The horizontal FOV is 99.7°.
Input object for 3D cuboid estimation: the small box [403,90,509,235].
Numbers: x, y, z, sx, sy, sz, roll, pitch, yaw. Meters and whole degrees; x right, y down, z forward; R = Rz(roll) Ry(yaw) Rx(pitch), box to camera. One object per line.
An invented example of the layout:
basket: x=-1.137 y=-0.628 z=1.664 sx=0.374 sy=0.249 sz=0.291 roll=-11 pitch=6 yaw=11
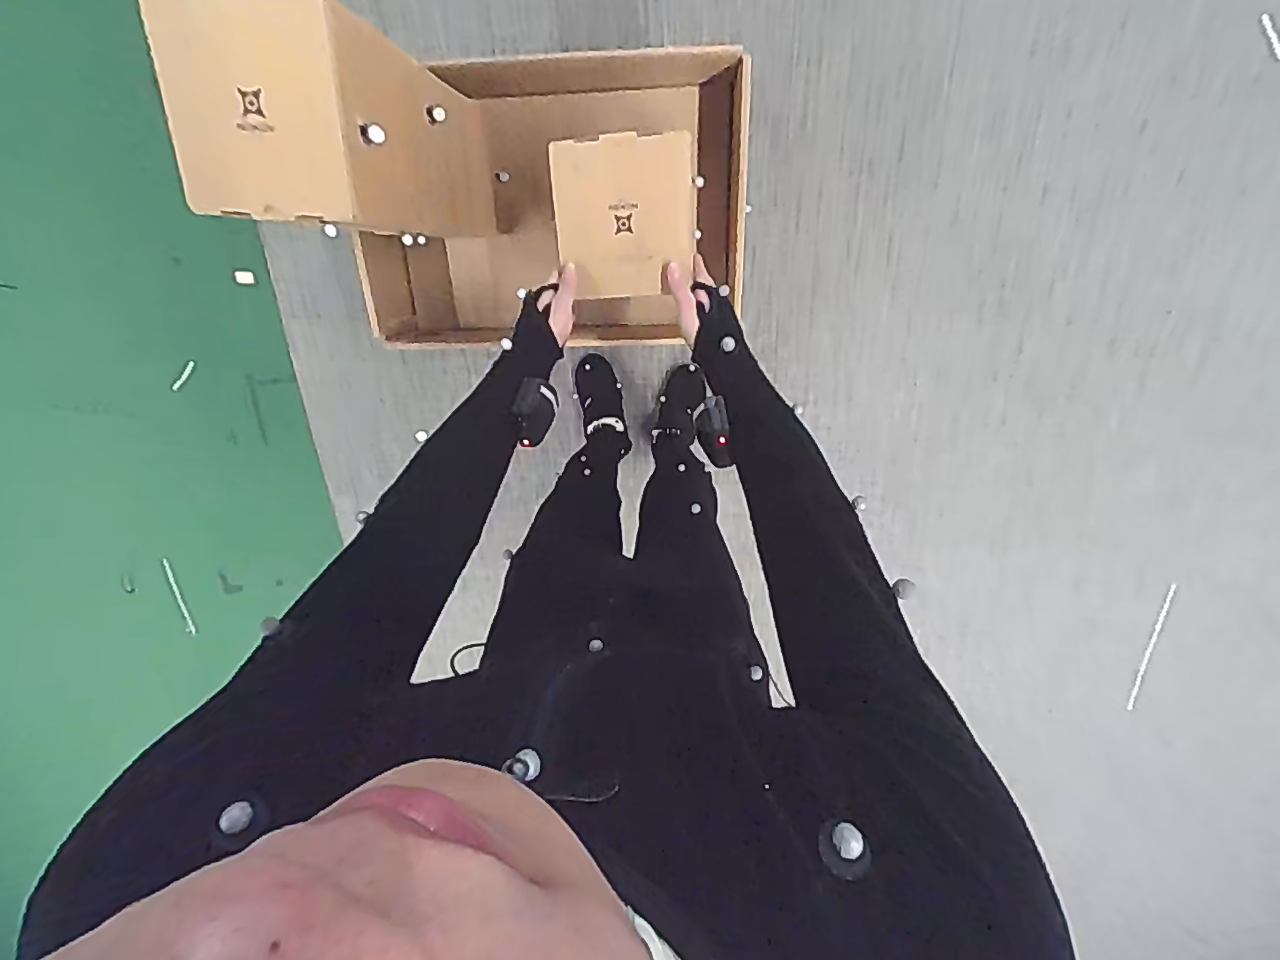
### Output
small box: x=-0.315 y=-0.488 z=0.854 sx=0.168 sy=0.176 sz=0.179 roll=1 pitch=112 yaw=3

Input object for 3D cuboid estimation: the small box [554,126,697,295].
small box: x=-0.010 y=-0.342 z=0.713 sx=0.168 sy=0.176 sz=0.179 roll=-1 pitch=112 yaw=5

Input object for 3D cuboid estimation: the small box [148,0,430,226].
small box: x=-0.333 y=-0.365 z=0.553 sx=0.168 sy=0.176 sz=0.179 roll=5 pitch=113 yaw=2

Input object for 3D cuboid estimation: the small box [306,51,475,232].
small box: x=-0.326 y=-0.426 z=0.703 sx=0.168 sy=0.176 sz=0.179 roll=4 pitch=113 yaw=3
